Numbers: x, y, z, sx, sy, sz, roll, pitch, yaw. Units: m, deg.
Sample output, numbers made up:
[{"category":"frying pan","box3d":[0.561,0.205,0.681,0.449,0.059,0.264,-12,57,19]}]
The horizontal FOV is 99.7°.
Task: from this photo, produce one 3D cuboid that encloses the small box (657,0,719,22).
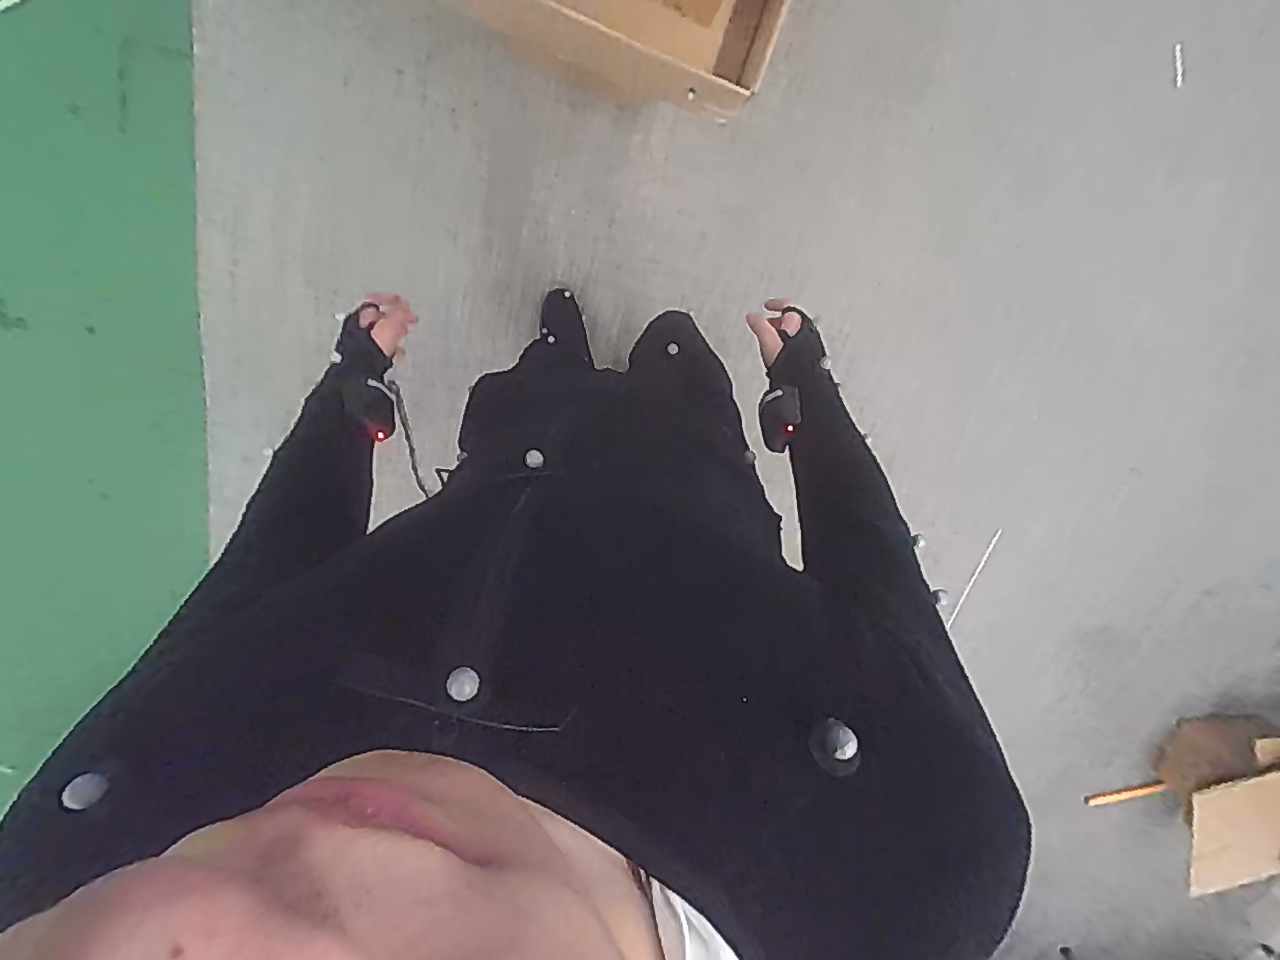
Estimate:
[{"category":"small box","box3d":[0.075,-0.842,0.801,0.168,0.176,0.179,17,111,-12]}]
